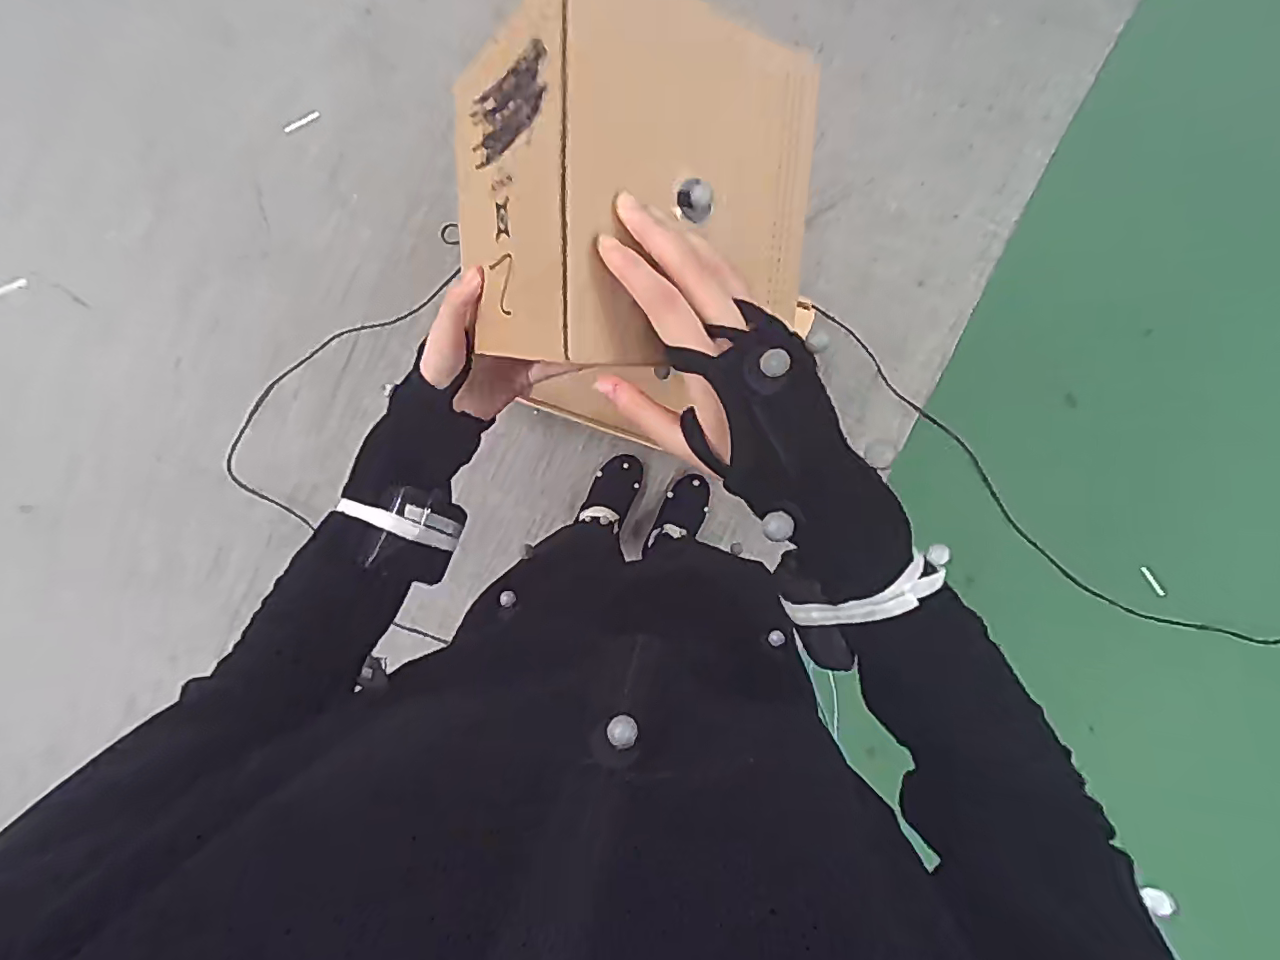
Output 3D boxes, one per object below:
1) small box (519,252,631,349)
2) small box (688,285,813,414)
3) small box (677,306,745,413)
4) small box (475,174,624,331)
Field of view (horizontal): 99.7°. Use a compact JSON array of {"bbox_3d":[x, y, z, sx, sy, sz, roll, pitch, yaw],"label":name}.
[{"bbox_3d":[-0.128,-0.362,1.028,0.179,0.176,0.168,24,96,-1],"label":"small box"},{"bbox_3d":[0.197,-0.234,1.024,0.168,0.176,0.179,23,94,-1],"label":"small box"},{"bbox_3d":[0.190,-0.253,1.189,0.179,0.176,0.168,24,95,1],"label":"small box"},{"bbox_3d":[-0.133,-0.348,0.867,0.179,0.176,0.168,19,96,1],"label":"small box"}]
